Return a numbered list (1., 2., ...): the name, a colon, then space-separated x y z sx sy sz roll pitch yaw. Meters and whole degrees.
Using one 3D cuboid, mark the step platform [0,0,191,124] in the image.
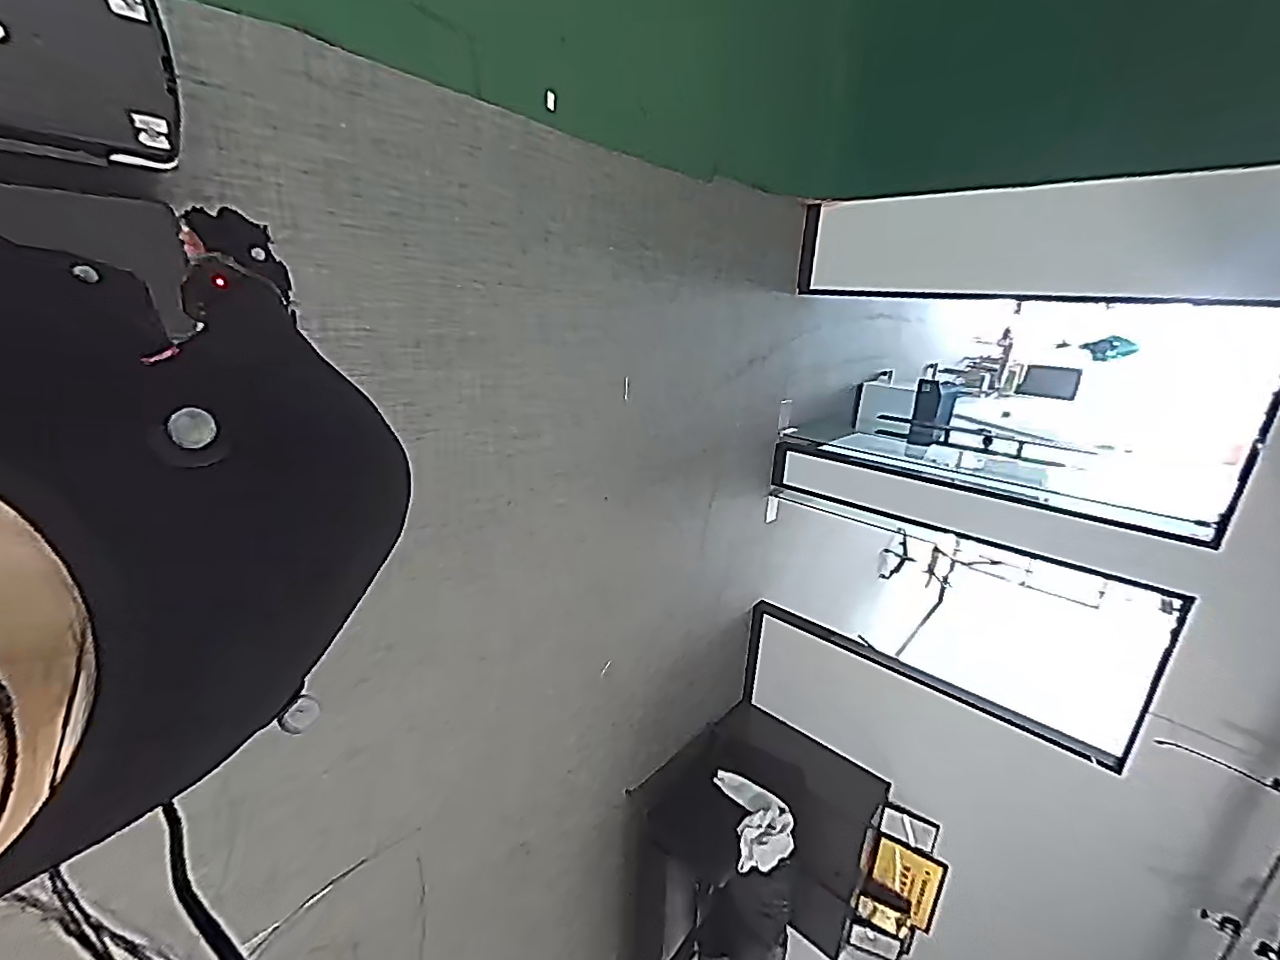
1. step platform: -0.988 -0.669 0.639 0.684 0.204 0.286 -16 117 -45
